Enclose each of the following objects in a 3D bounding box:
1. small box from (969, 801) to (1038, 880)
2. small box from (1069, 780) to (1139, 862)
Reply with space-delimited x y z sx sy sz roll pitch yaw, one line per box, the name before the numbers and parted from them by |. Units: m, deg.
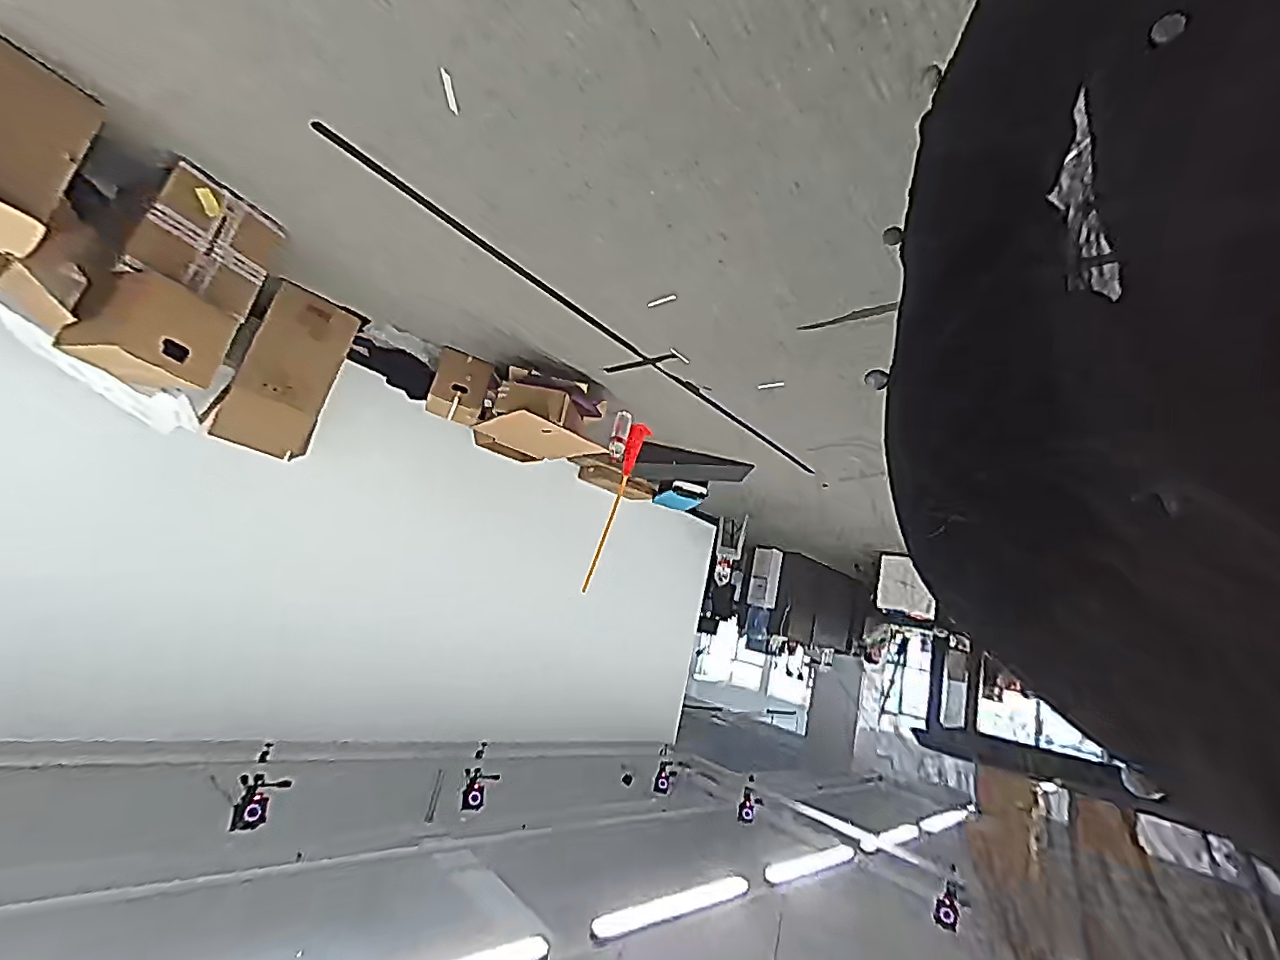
small box | 1.268 1.243 1.881 0.179 0.176 0.168 -2 163 44
small box | 1.499 1.091 1.748 0.168 0.176 0.179 1 164 43
